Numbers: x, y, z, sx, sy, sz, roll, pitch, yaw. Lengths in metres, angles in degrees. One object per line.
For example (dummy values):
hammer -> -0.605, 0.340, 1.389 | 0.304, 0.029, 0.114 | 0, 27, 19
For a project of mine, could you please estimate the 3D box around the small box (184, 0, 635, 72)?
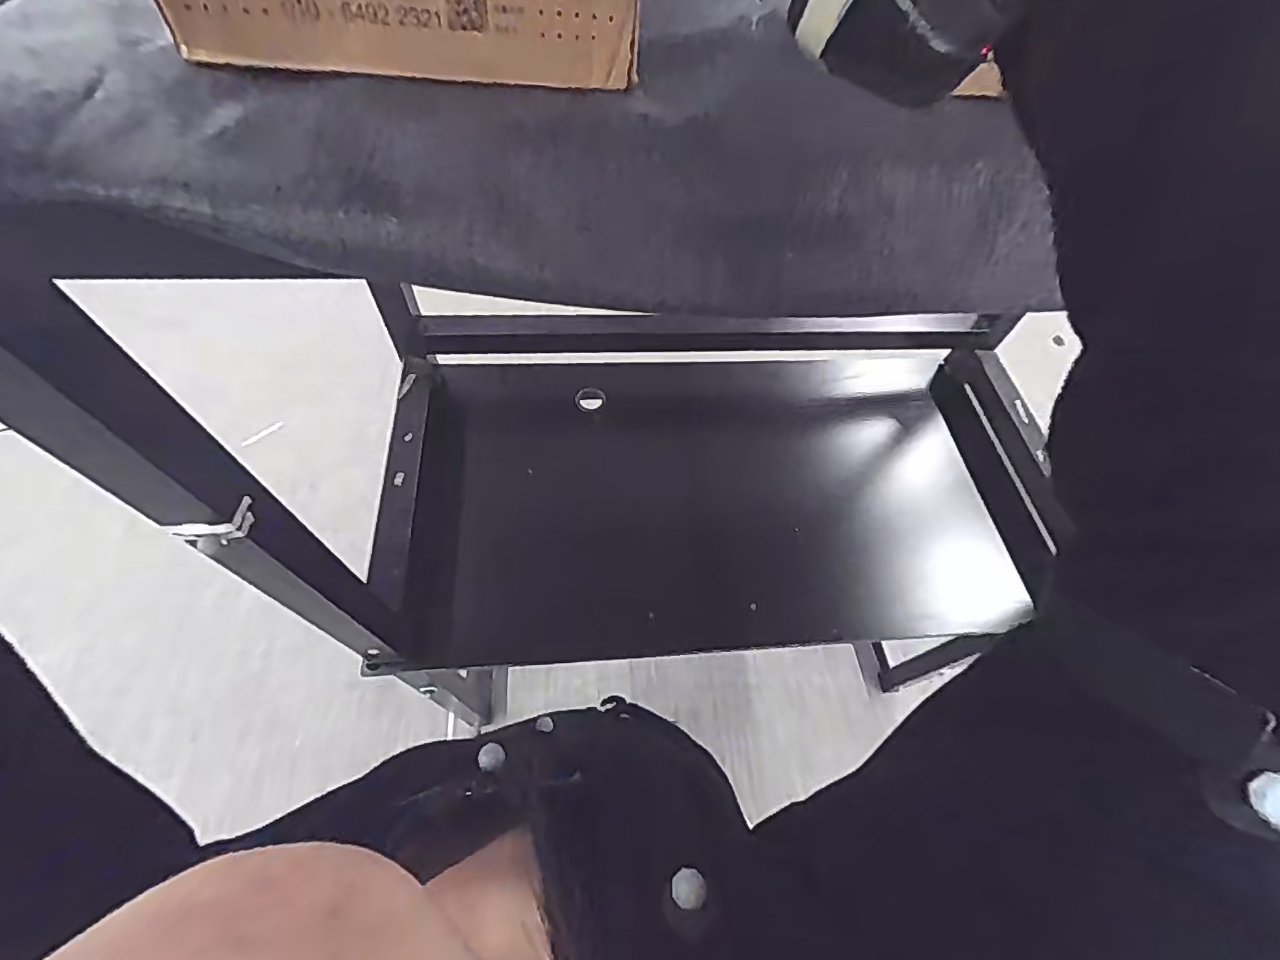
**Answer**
small box -> -0.083, -0.271, 0.177 | 0.168, 0.176, 0.179 | -2, 57, -8
